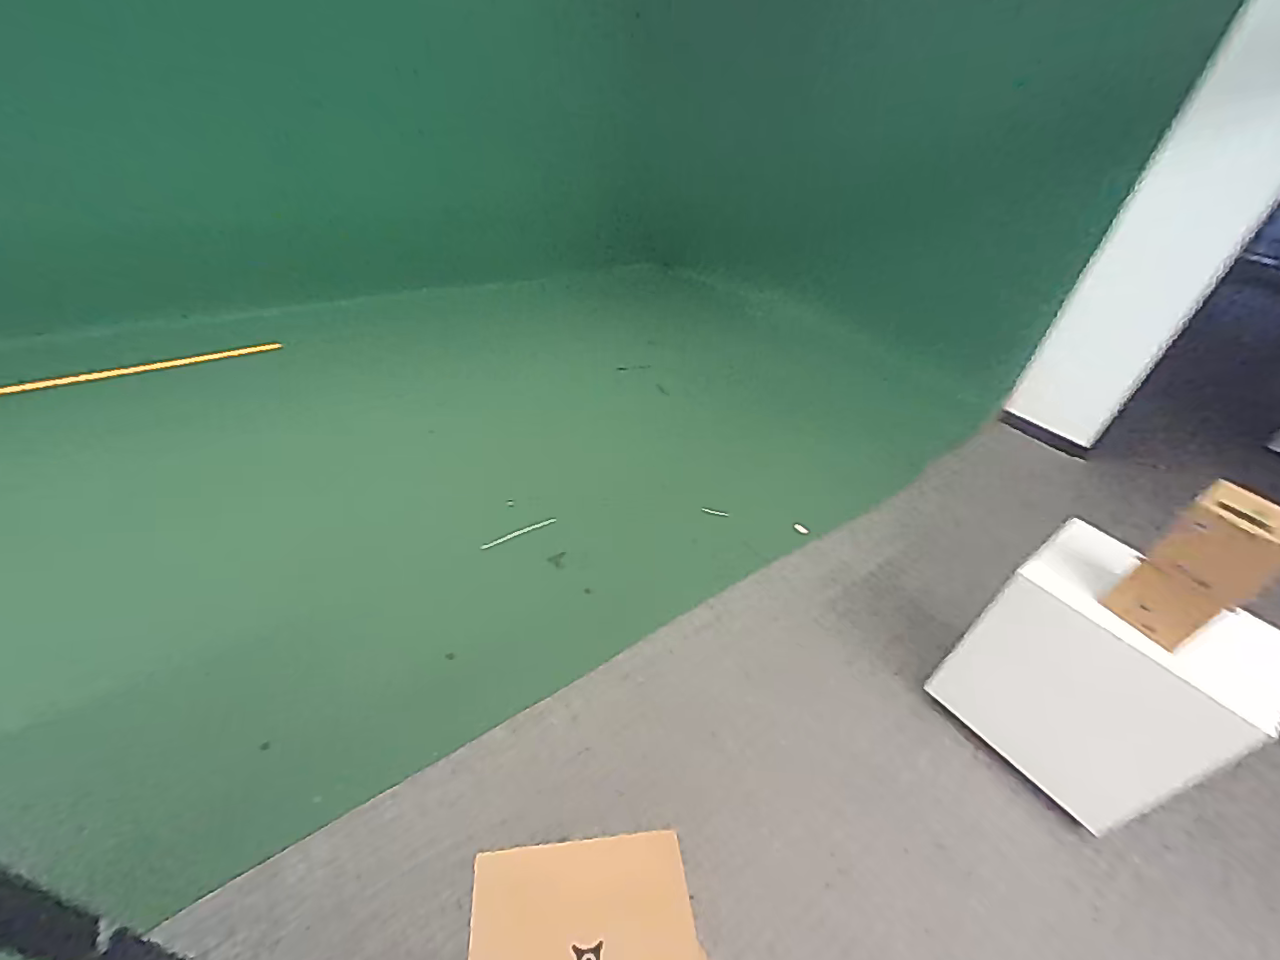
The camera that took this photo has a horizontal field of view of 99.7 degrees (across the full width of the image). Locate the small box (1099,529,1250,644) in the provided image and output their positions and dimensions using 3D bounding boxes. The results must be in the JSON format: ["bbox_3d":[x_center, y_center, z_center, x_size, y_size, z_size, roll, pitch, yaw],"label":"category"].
[{"bbox_3d":[1.228,0.246,1.256,0.179,0.176,0.168,-17,44,-28],"label":"small box"}]
